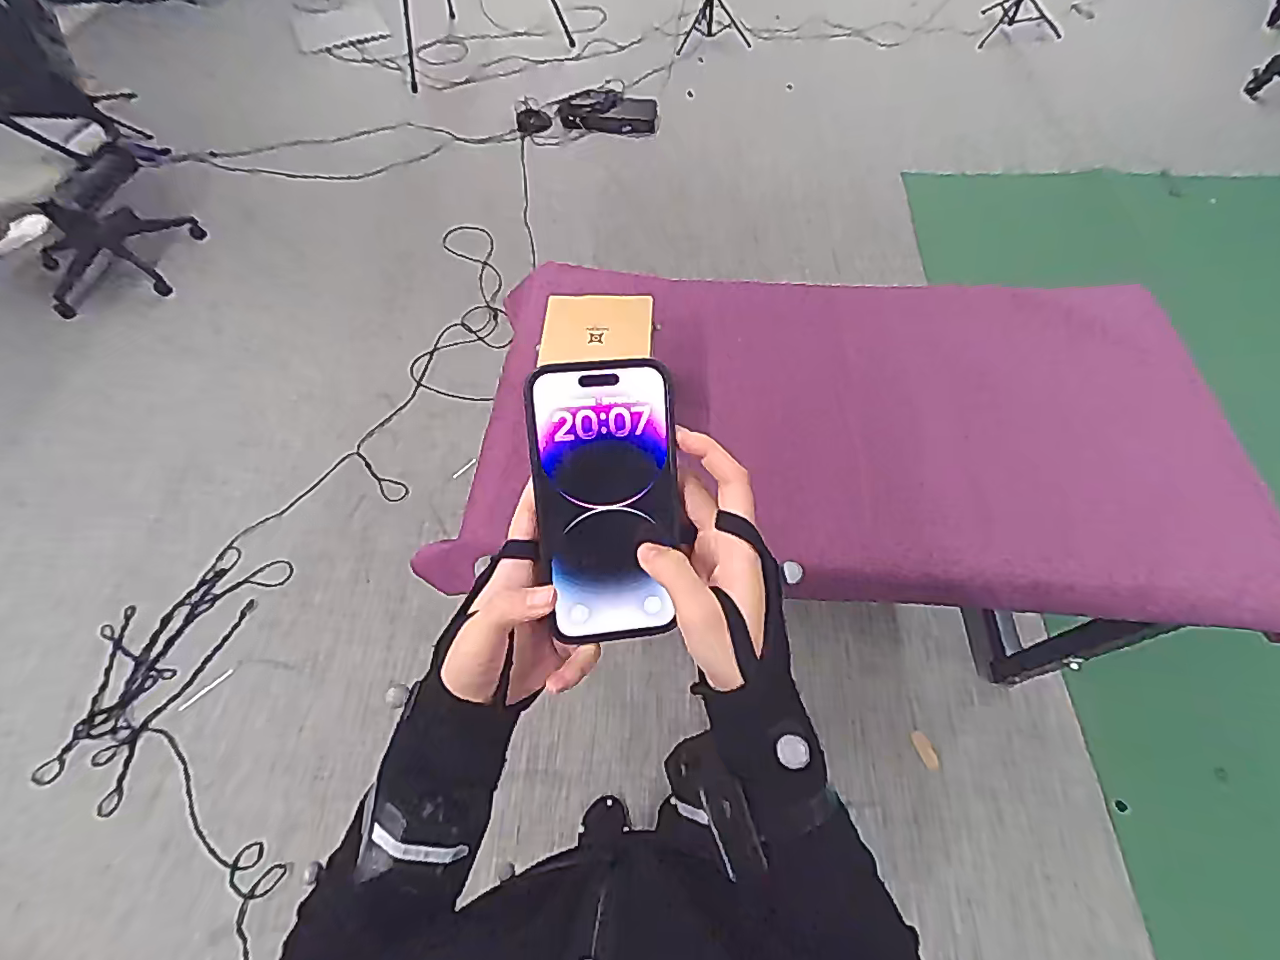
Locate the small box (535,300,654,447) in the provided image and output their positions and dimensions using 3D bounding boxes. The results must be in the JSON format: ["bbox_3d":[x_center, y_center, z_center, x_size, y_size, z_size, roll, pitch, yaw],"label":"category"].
[{"bbox_3d":[-0.062,-0.167,0.875,0.168,0.176,0.179,1,58,3],"label":"small box"}]
